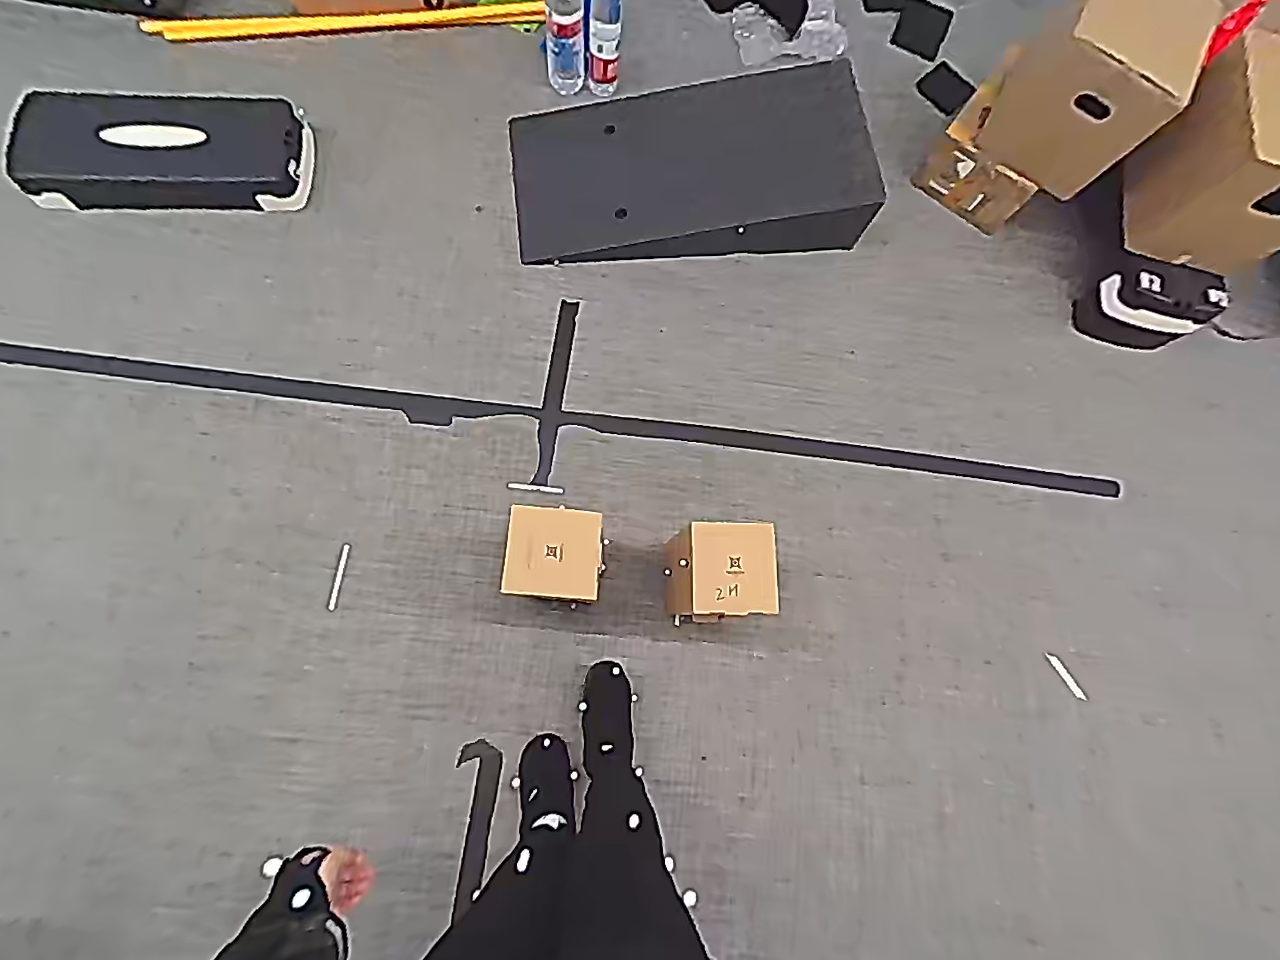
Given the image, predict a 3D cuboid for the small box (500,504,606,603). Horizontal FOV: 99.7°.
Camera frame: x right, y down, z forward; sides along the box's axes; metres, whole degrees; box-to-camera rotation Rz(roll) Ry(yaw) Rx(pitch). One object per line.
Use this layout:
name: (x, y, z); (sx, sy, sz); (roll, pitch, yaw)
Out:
small box: (-0.164, 0.151, 1.061); (0.179, 0.176, 0.168); (6, 75, -4)

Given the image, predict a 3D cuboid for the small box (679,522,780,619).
small box: (0.171, 0.187, 1.088); (0.168, 0.176, 0.179); (2, 76, -5)

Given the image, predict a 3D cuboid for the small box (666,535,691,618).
small box: (0.153, 0.226, 1.248); (0.168, 0.176, 0.179); (1, 75, -6)
